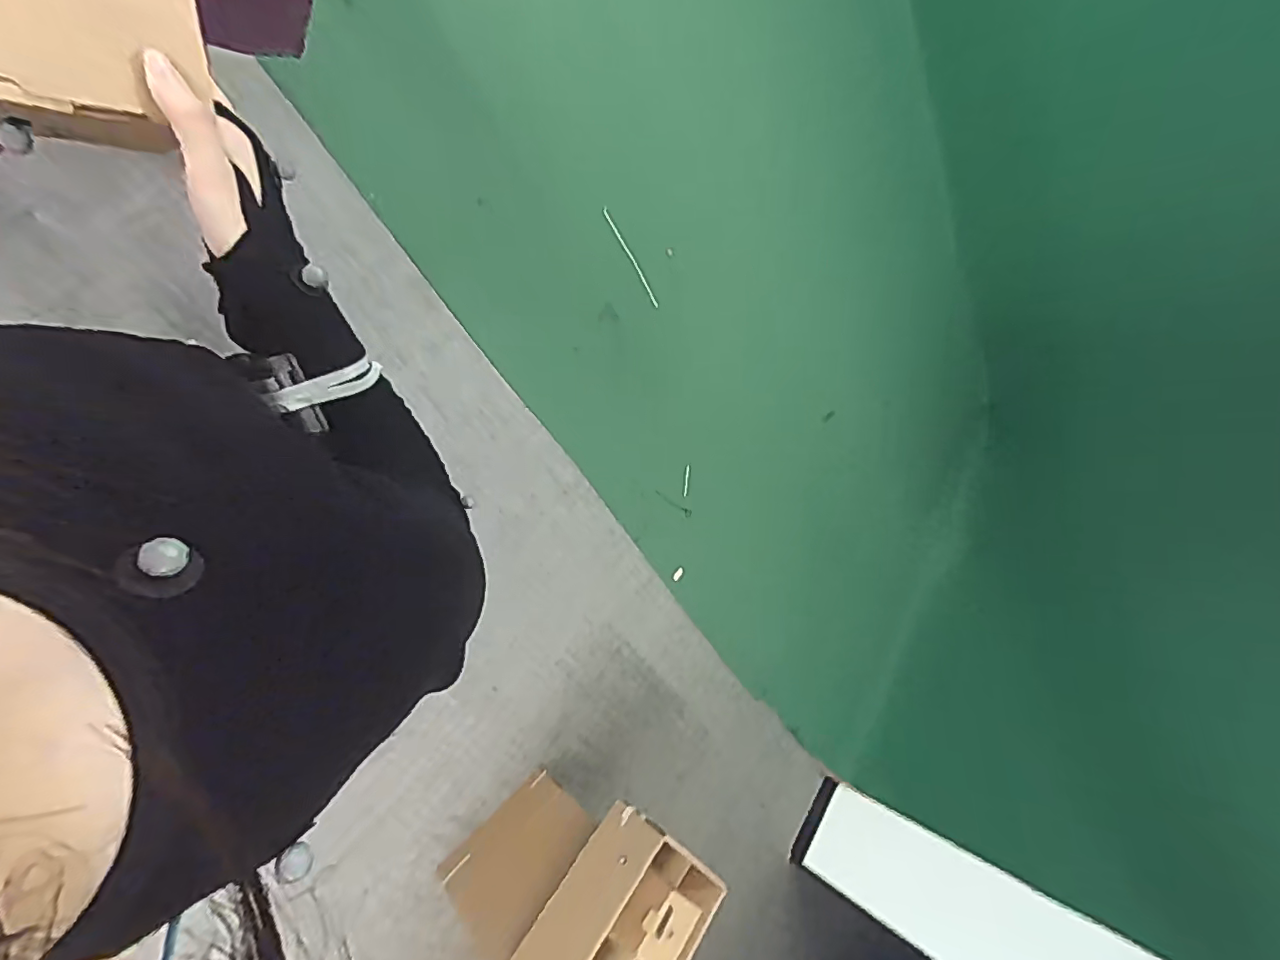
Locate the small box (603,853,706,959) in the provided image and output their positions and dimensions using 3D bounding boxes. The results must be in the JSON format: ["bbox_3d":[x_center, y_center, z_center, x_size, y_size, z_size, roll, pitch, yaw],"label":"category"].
[{"bbox_3d":[0.034,1.127,1.417,0.168,0.176,0.179,-50,123,-23],"label":"small box"}]

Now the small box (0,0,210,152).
[{"bbox_3d":[-0.352,-0.284,0.278,0.168,0.176,0.179,-17,121,-42],"label":"small box"}]
